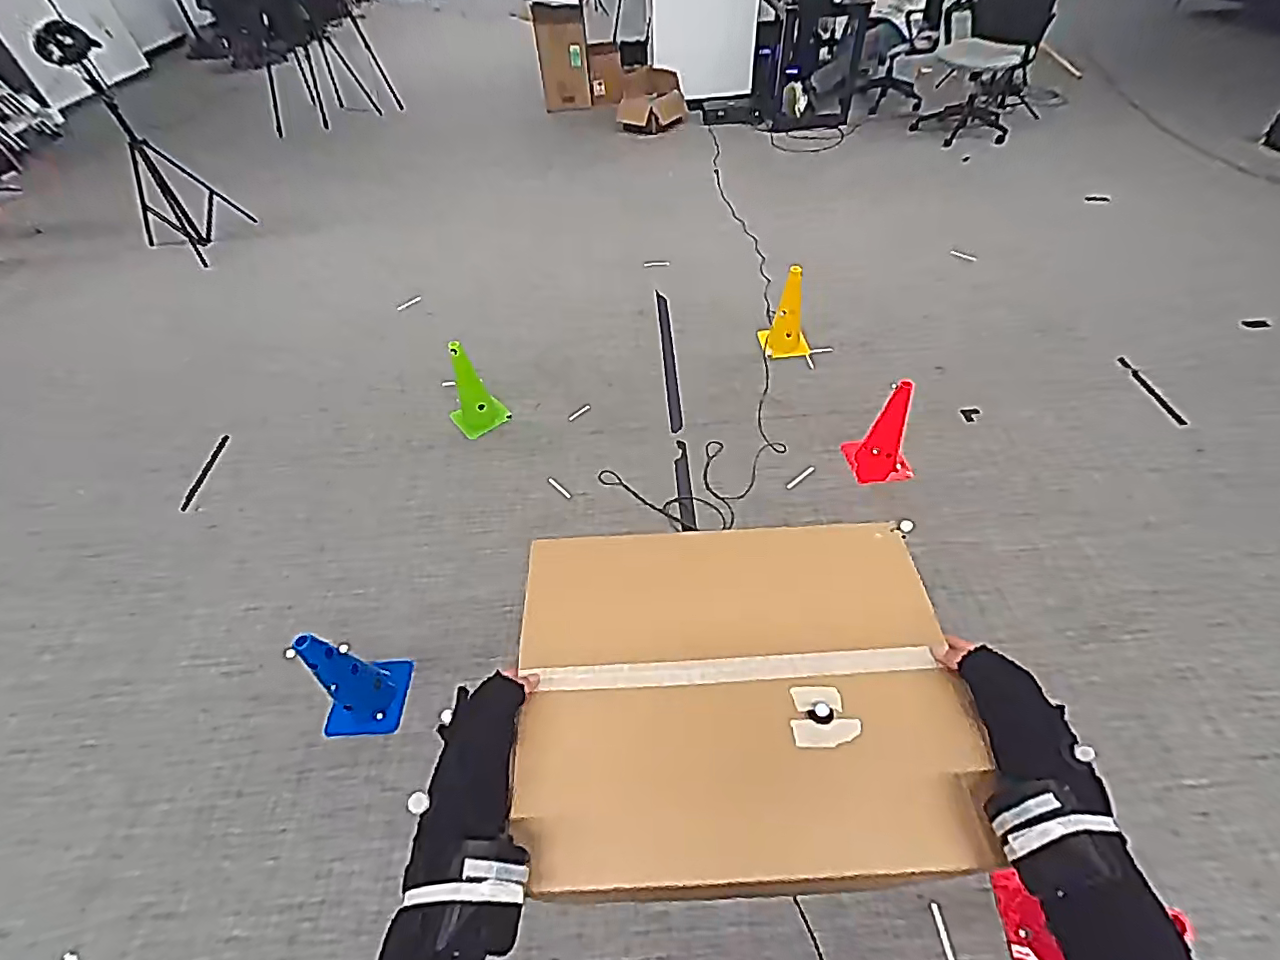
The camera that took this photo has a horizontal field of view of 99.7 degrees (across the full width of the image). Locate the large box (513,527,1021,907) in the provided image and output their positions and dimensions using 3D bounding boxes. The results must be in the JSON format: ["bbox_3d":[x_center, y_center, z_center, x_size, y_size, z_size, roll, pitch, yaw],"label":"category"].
[{"bbox_3d":[0.093,0.276,0.621,0.408,0.320,0.320,-3,51,-1],"label":"large box"}]

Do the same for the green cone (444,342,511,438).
[{"bbox_3d":[-0.670,-0.374,2.084,0.202,0.368,0.200,-36,55,-22],"label":"green cone"}]

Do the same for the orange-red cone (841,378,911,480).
[{"bbox_3d":[0.832,-0.190,1.811,0.198,0.360,0.199,-6,48,-2],"label":"orange-red cone"}]

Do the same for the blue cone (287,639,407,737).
[{"bbox_3d":[-0.760,0.497,1.366,0.192,0.380,0.193,-3,49,3],"label":"blue cone"}]

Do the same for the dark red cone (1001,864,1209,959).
[{"bbox_3d":[0.832,0.781,0.945,0.201,0.394,0.202,-1,49,5],"label":"dark red cone"}]
